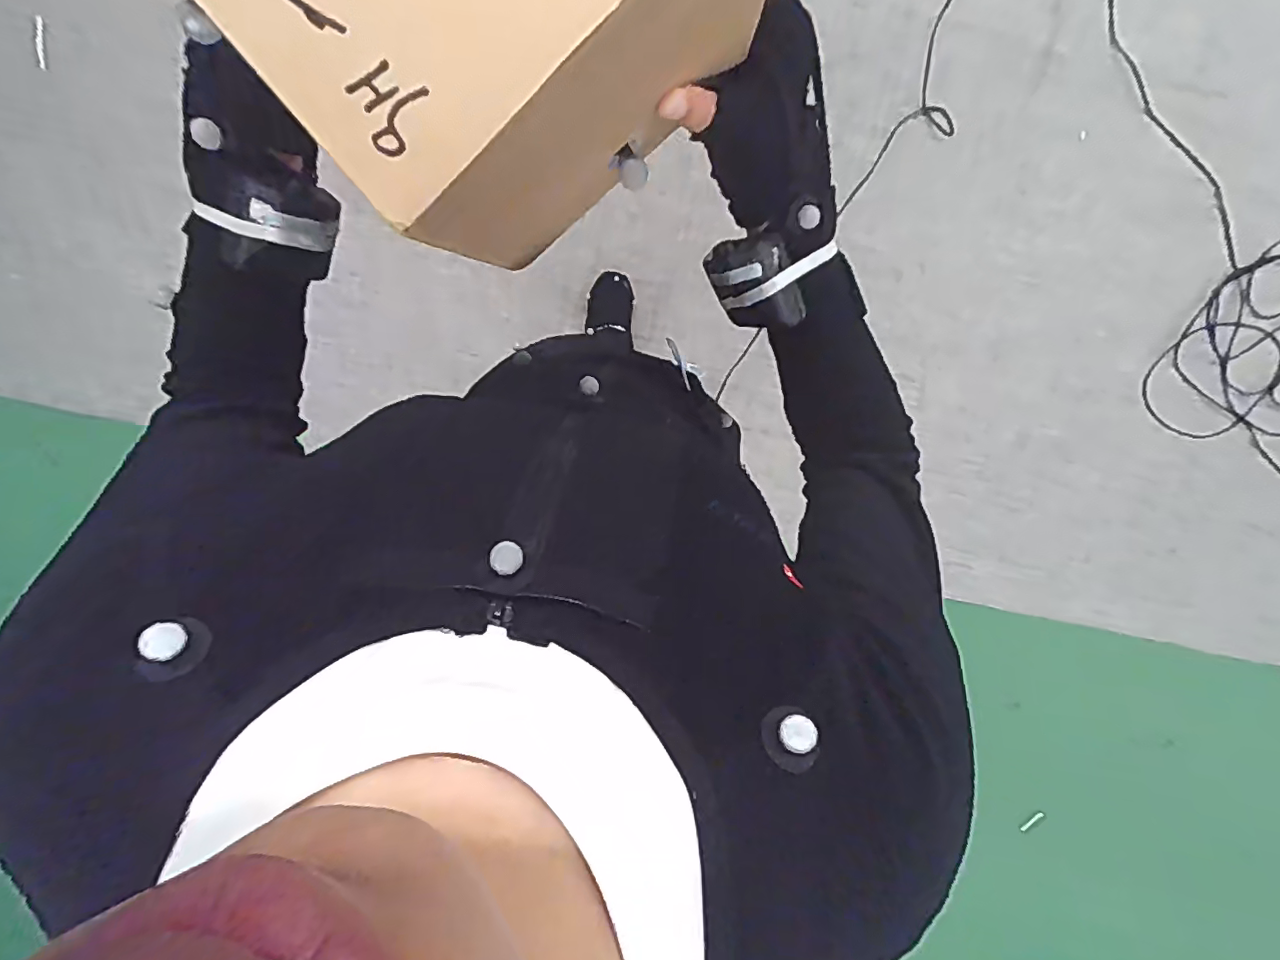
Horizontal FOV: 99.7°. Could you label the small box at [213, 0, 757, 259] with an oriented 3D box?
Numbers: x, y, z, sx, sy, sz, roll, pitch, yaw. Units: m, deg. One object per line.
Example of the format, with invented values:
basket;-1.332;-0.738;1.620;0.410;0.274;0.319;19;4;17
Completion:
small box;-0.061;-0.219;0.223;0.179;0.176;0.168;-37;102;11
